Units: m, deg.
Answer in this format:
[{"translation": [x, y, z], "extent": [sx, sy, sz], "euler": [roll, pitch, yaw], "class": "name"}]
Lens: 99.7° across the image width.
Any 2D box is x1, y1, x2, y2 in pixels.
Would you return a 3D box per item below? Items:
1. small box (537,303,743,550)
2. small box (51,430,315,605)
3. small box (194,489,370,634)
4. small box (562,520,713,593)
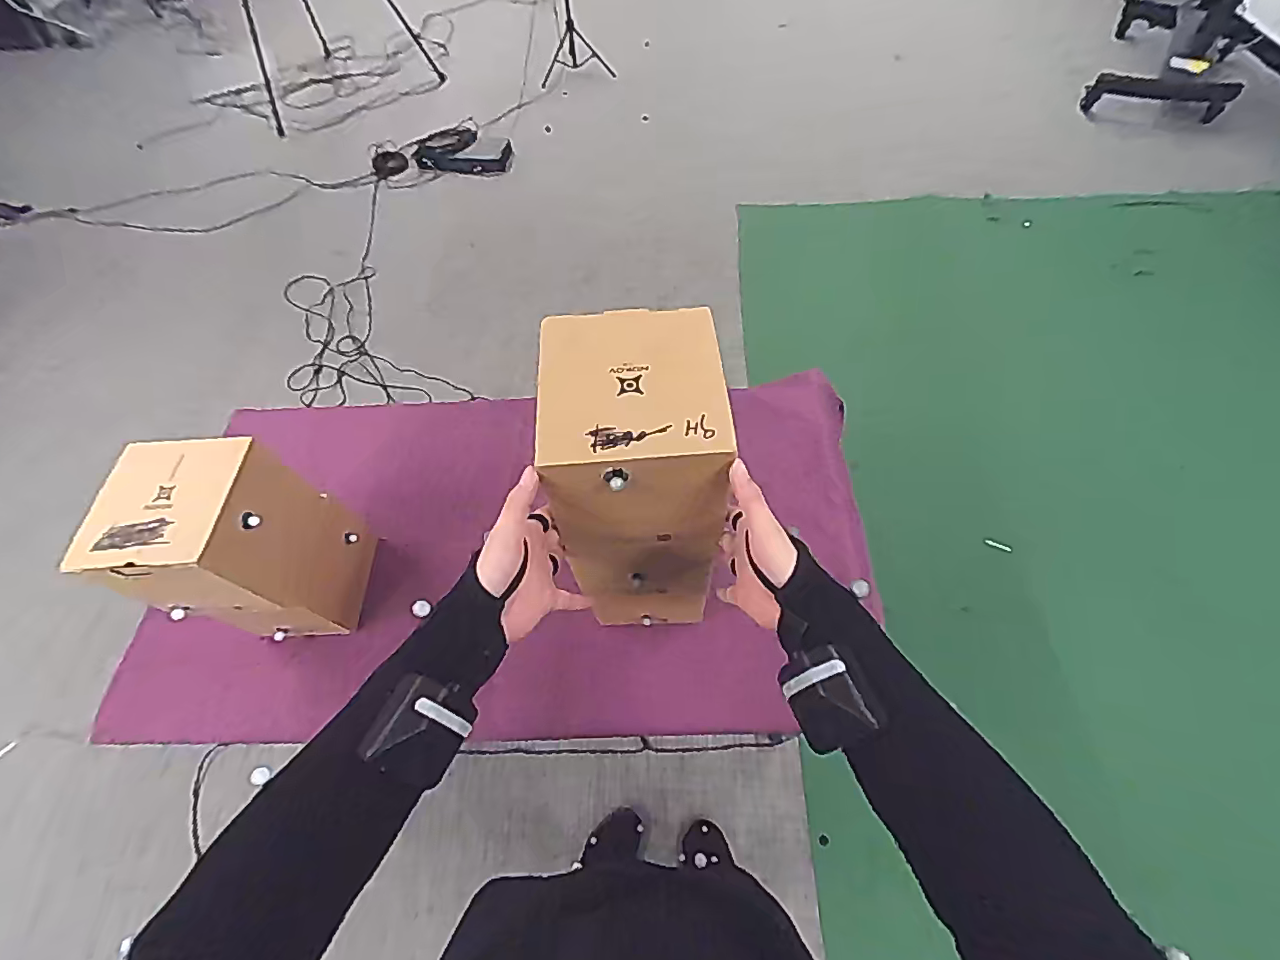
[{"translation": [-0.001, -0.048, 0.534], "extent": [0.168, 0.176, 0.179], "euler": [-4, 57, 0], "class": "small box"}, {"translation": [-0.560, 0.057, 0.697], "extent": [0.168, 0.176, 0.179], "euler": [-2, 58, 2], "class": "small box"}, {"translation": [-0.550, 0.131, 0.842], "extent": [0.168, 0.176, 0.179], "euler": [-2, 60, 2], "class": "small box"}, {"translation": [0.003, 0.038, 0.678], "extent": [0.168, 0.176, 0.179], "euler": [-1, 60, 2], "class": "small box"}]
